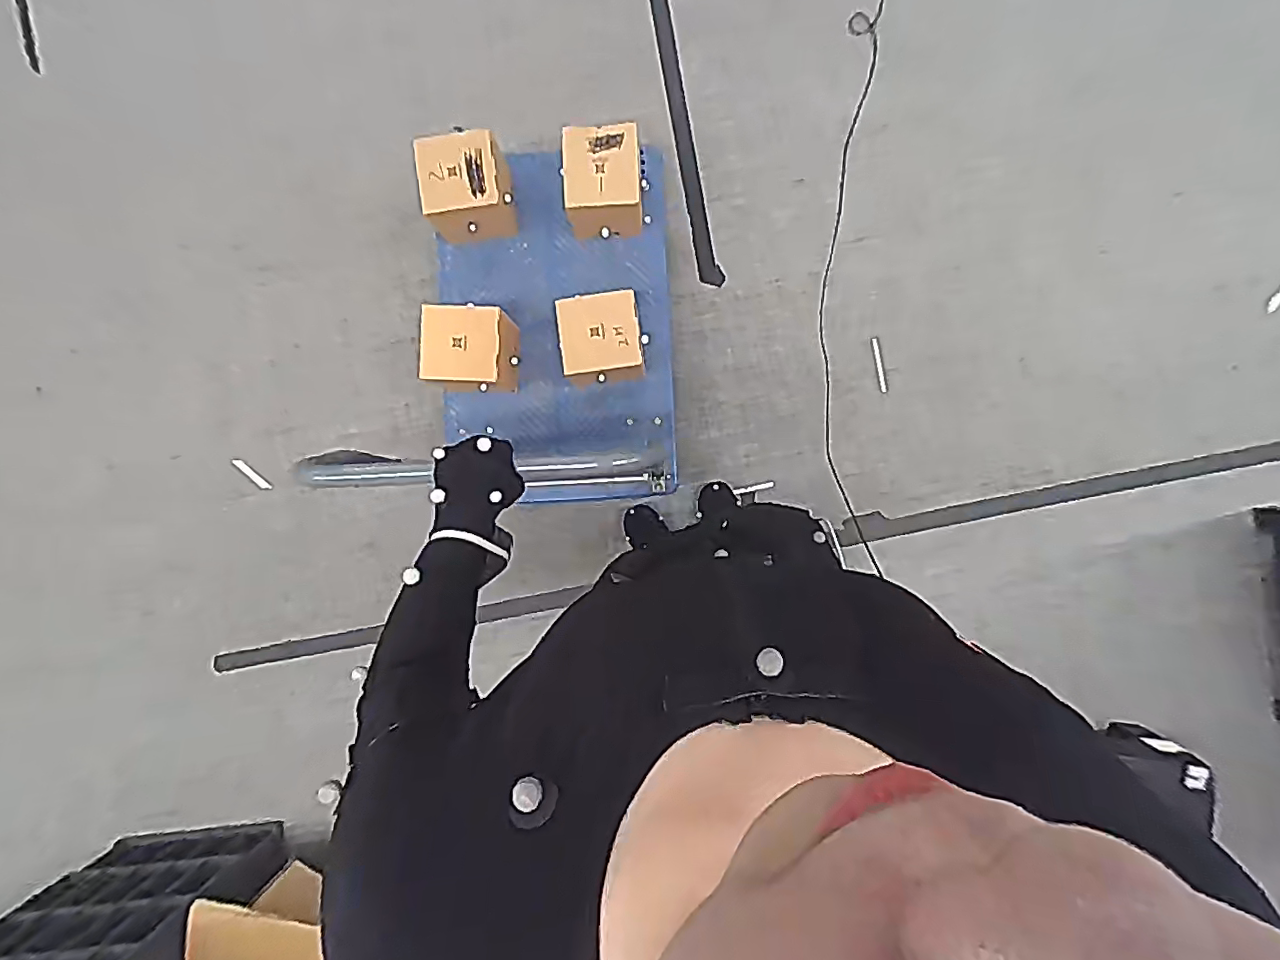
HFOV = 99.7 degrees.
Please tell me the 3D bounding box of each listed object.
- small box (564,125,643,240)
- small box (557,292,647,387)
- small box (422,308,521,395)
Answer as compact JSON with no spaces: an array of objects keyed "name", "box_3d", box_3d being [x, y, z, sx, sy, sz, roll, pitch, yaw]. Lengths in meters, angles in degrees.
[{"name":"small box","box_3d":[-0.080,-0.679,1.251,0.168,0.176,0.179,-2,92,3]},{"name":"small box","box_3d":[-0.083,-0.318,1.254,0.179,0.176,0.168,-8,90,3]},{"name":"small box","box_3d":[-0.390,-0.296,1.269,0.179,0.176,0.168,2,90,1]}]
